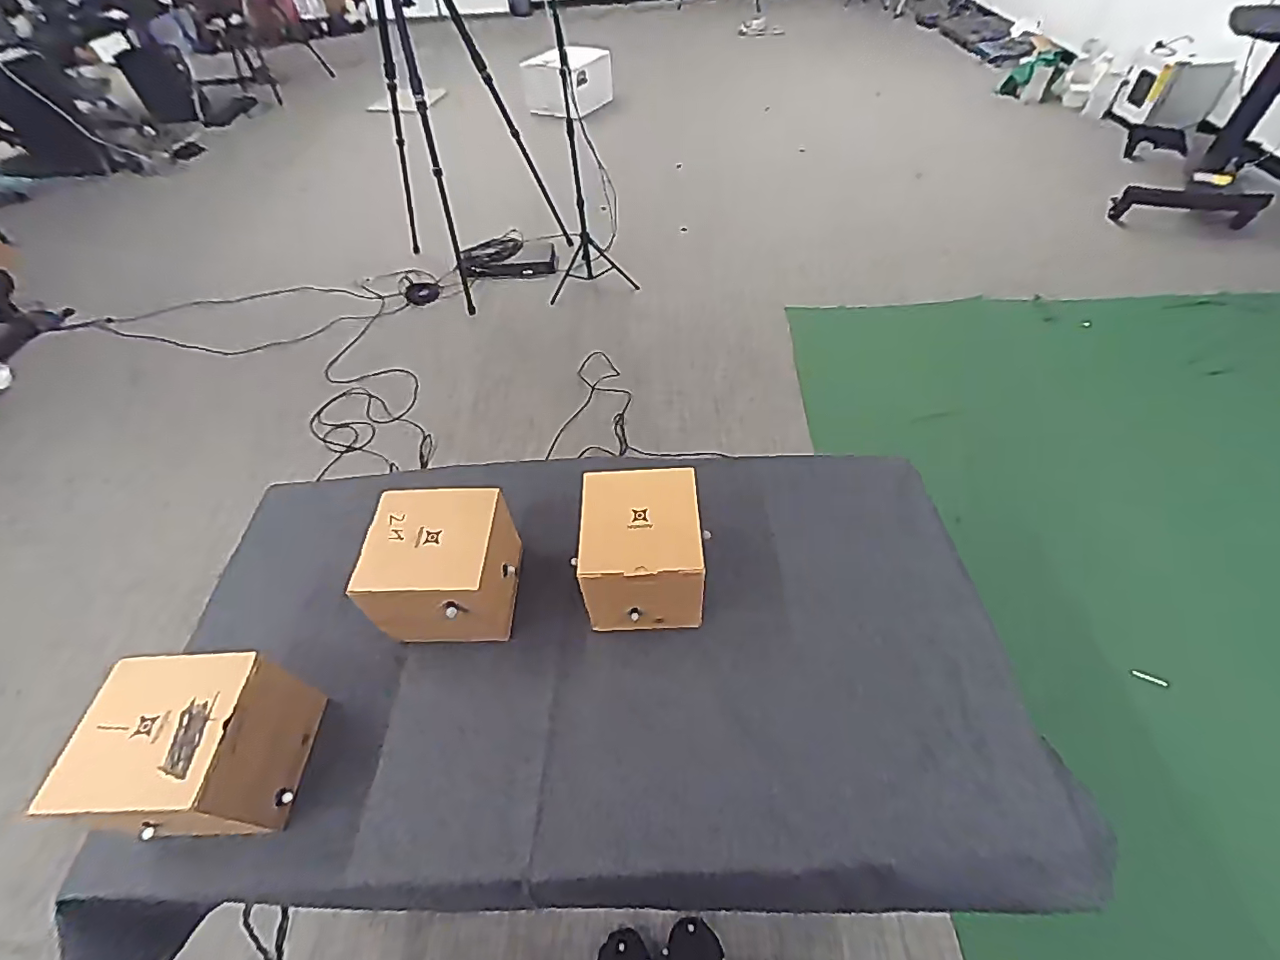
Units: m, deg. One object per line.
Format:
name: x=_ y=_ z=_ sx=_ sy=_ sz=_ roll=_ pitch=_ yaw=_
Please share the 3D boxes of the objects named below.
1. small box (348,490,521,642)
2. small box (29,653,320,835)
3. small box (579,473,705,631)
small box: x=-0.285 y=0.131 z=0.802 sx=0.179 sy=0.176 sz=0.168 roll=-1 pitch=51 yaw=2
small box: x=-0.533 y=0.323 z=0.658 sx=0.179 sy=0.176 sz=0.168 roll=-3 pitch=50 yaw=1
small box: x=0.003 y=0.109 z=0.809 sx=0.168 sy=0.176 sz=0.179 roll=-2 pitch=51 yaw=1
